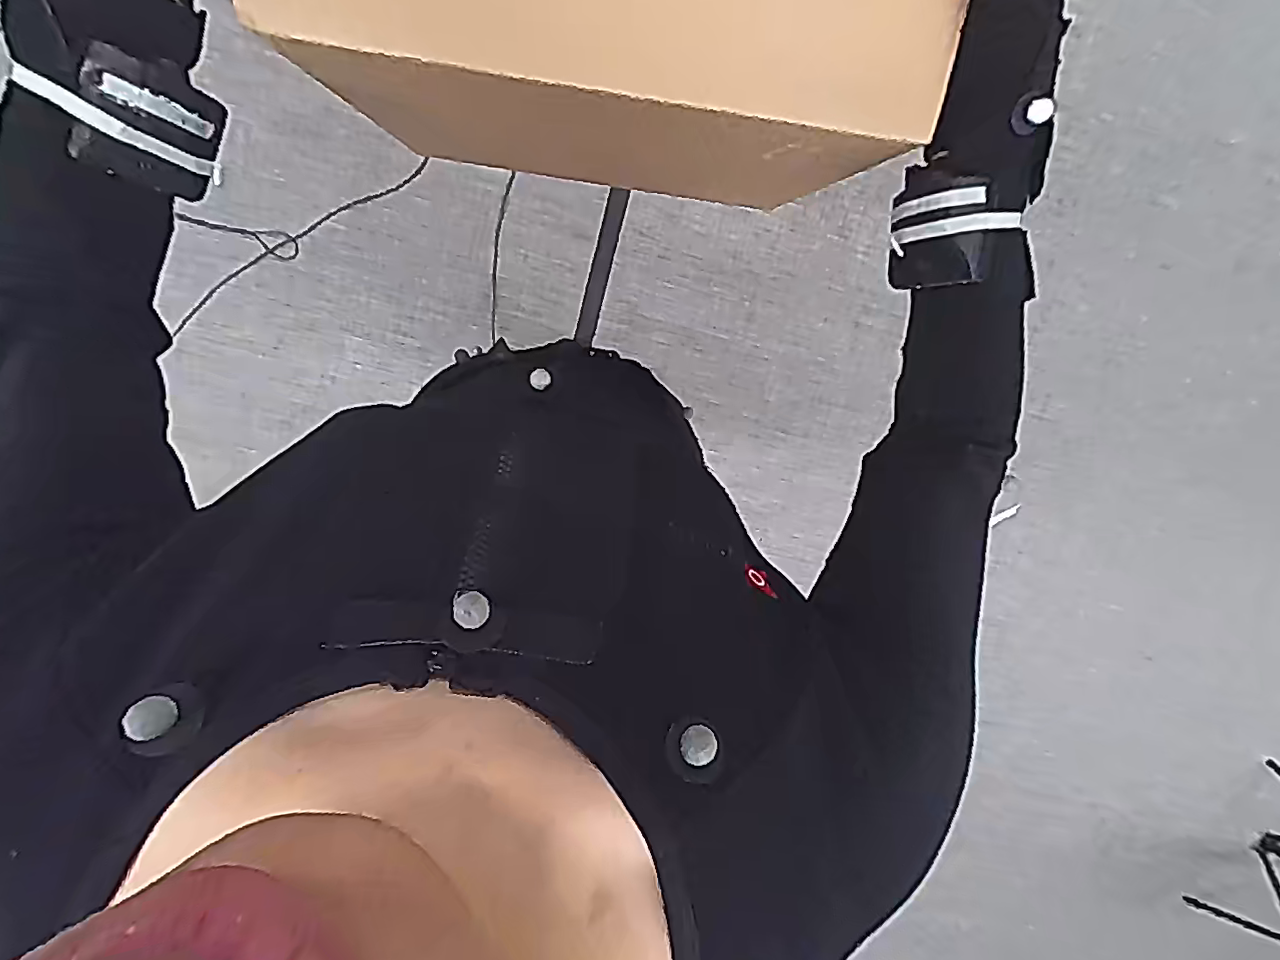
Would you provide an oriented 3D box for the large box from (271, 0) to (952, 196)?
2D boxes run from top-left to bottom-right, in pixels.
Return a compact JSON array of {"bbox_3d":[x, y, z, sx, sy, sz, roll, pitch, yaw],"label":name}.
[{"bbox_3d":[-0.013,-0.433,0.418,0.408,0.320,0.320,4,110,-7],"label":"large box"}]
